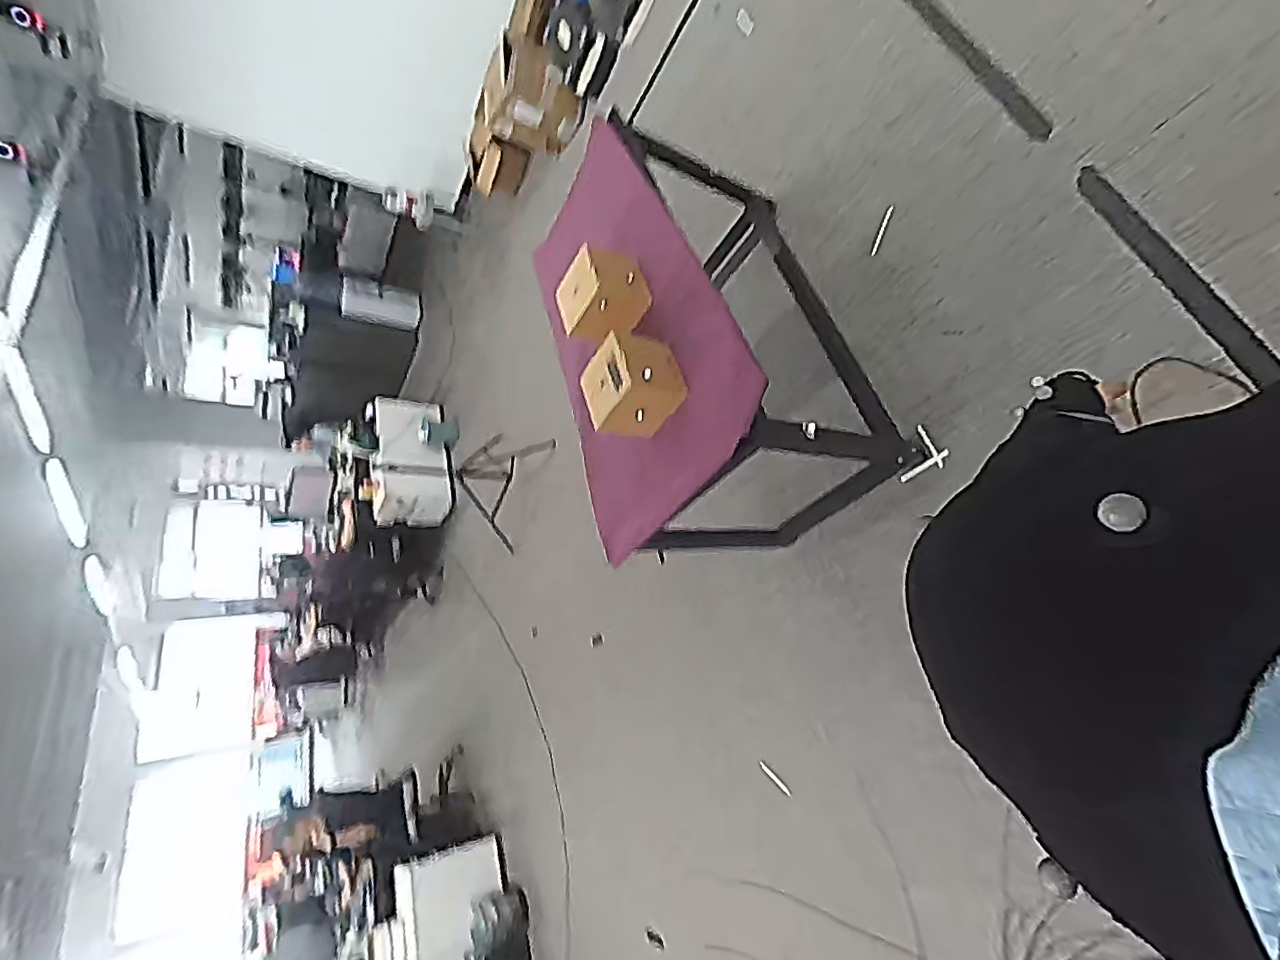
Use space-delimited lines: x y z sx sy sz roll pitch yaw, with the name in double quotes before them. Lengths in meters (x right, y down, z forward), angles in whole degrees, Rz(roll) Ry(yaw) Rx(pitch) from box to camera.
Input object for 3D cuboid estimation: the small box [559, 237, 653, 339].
"small box" -0.092 -0.503 1.446 0.179 0.176 0.168 -44 54 42
